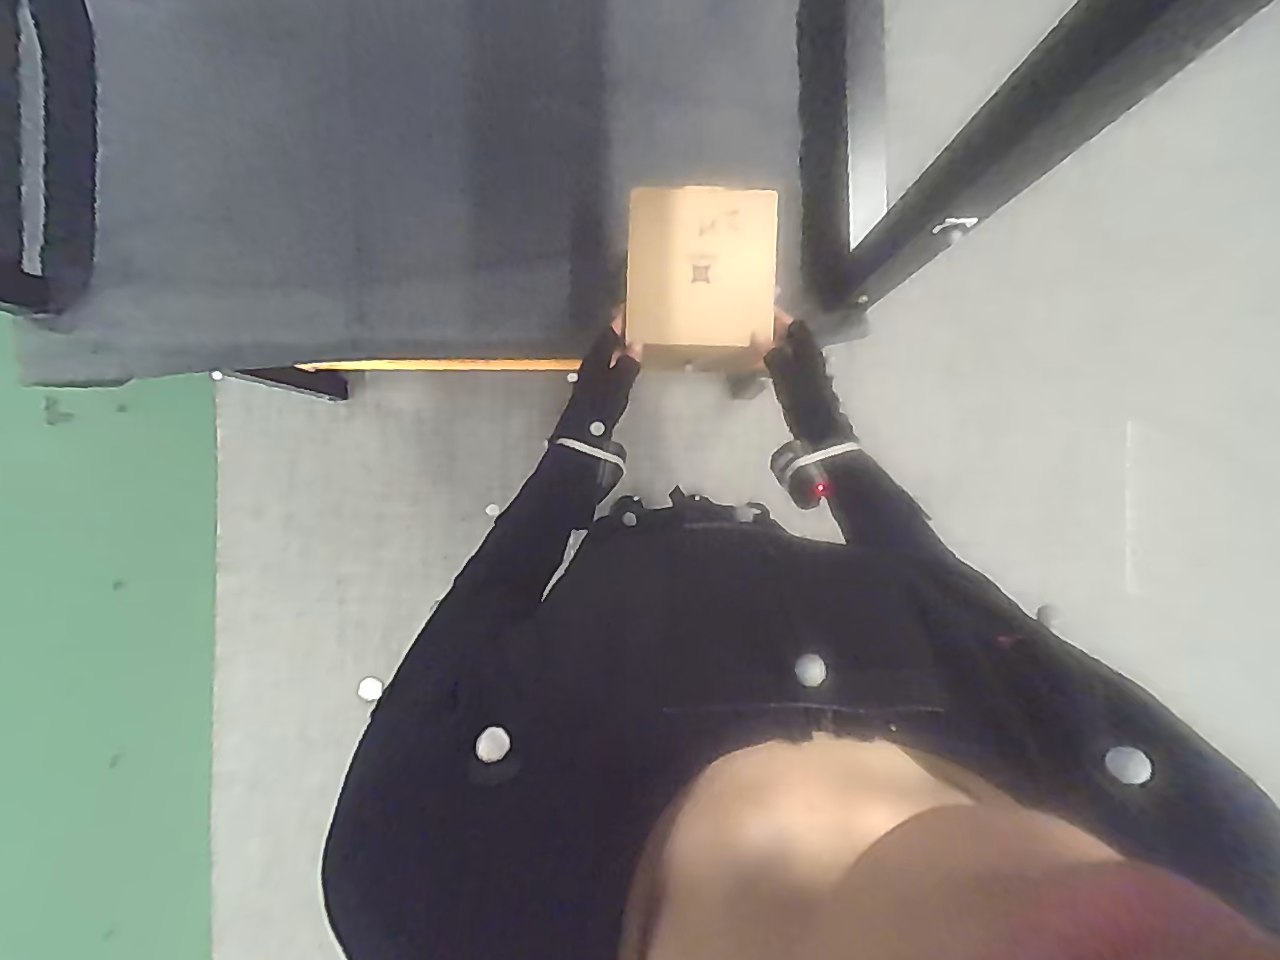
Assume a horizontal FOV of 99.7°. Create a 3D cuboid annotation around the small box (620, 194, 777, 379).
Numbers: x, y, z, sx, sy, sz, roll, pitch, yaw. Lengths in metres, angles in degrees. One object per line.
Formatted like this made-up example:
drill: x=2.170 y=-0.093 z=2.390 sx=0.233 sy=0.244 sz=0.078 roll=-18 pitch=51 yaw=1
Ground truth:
small box: x=0.065 y=-0.228 z=0.682 sx=0.168 sy=0.176 sz=0.179 roll=4 pitch=91 yaw=-1
